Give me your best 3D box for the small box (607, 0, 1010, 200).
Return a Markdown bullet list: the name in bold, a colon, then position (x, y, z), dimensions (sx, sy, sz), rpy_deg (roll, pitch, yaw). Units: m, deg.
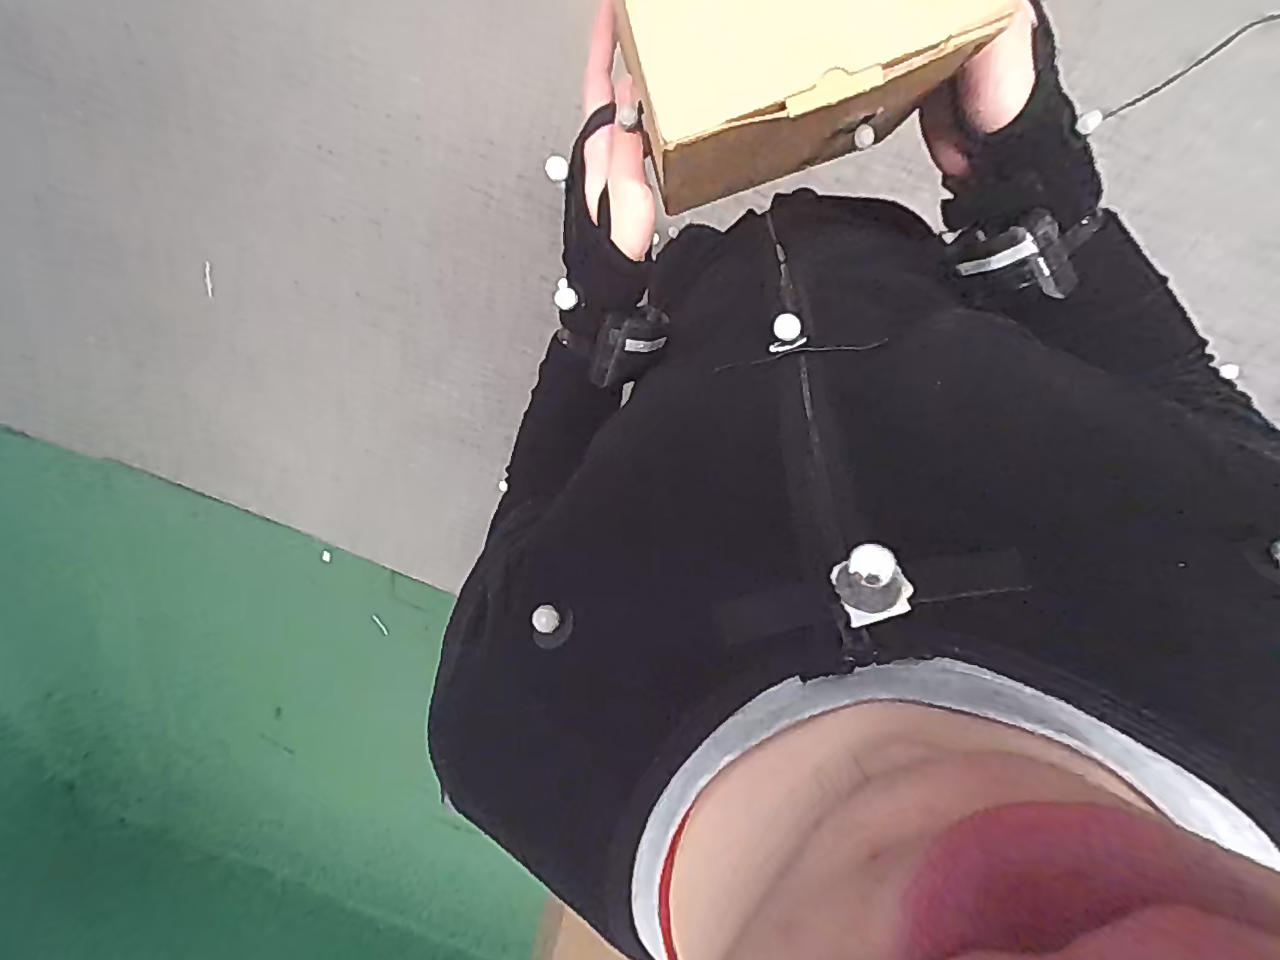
- **small box**: position (0.068, -0.282, 0.309), dimensions (0.168, 0.176, 0.179), rpy_deg (-16, 103, 7)
